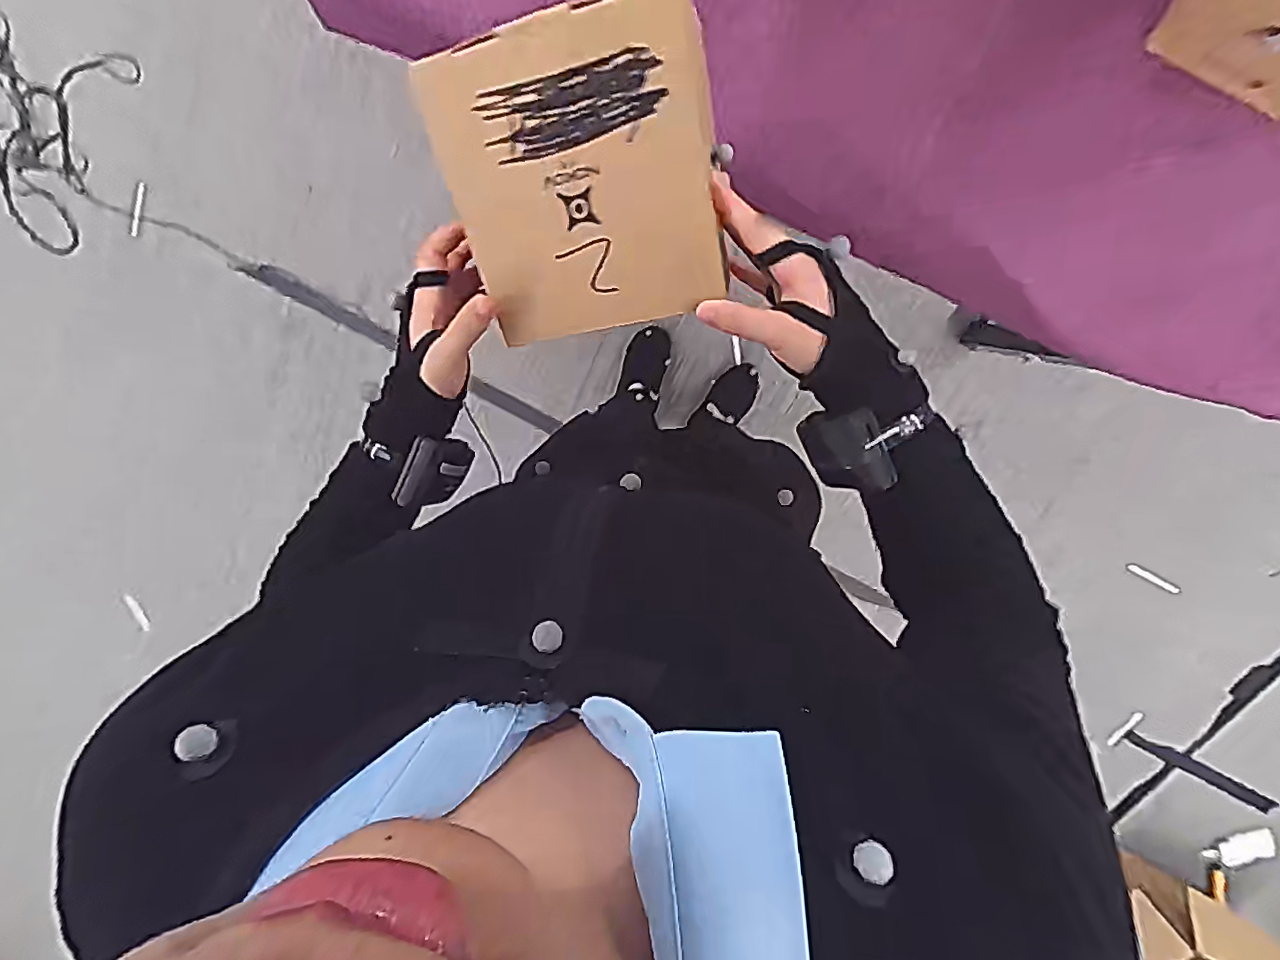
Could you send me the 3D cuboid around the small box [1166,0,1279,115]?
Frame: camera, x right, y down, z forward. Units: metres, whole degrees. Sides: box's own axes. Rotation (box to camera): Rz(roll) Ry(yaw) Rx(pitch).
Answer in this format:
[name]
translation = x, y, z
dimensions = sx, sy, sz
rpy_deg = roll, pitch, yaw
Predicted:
[small box]
translation = 0.609, -0.447, 0.447
dimensions = 0.168, 0.176, 0.179
rpy_deg = 27, 108, -2
